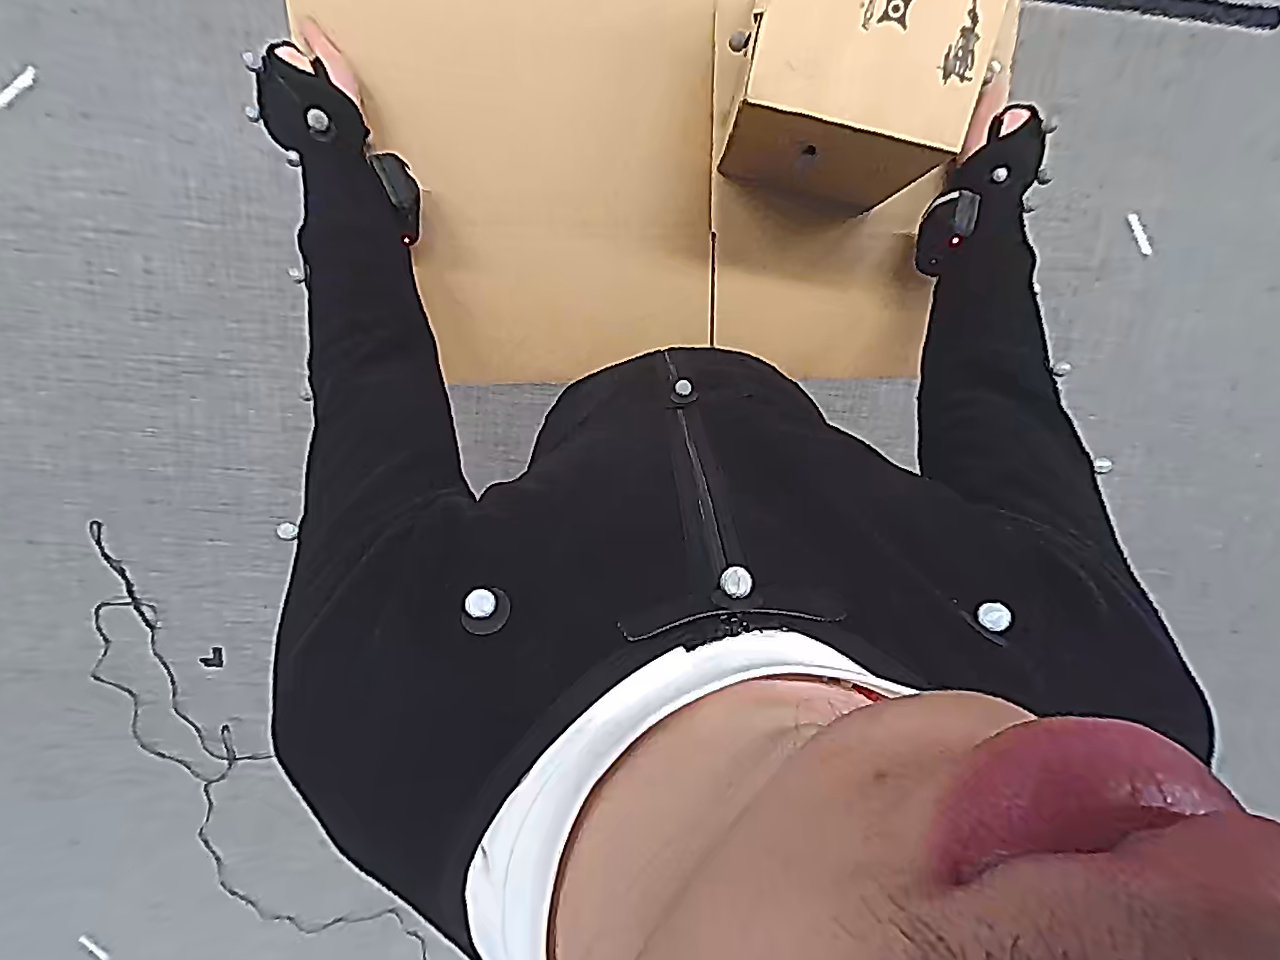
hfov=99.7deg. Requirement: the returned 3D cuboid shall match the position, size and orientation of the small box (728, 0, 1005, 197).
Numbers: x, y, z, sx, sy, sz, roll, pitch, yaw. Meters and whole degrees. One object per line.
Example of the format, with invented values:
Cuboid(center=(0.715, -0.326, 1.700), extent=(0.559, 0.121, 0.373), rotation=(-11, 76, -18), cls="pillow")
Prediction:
Cuboid(center=(0.185, -0.373, 0.480), extent=(0.179, 0.176, 0.168), rotation=(13, 104, -1), cls="small box")
